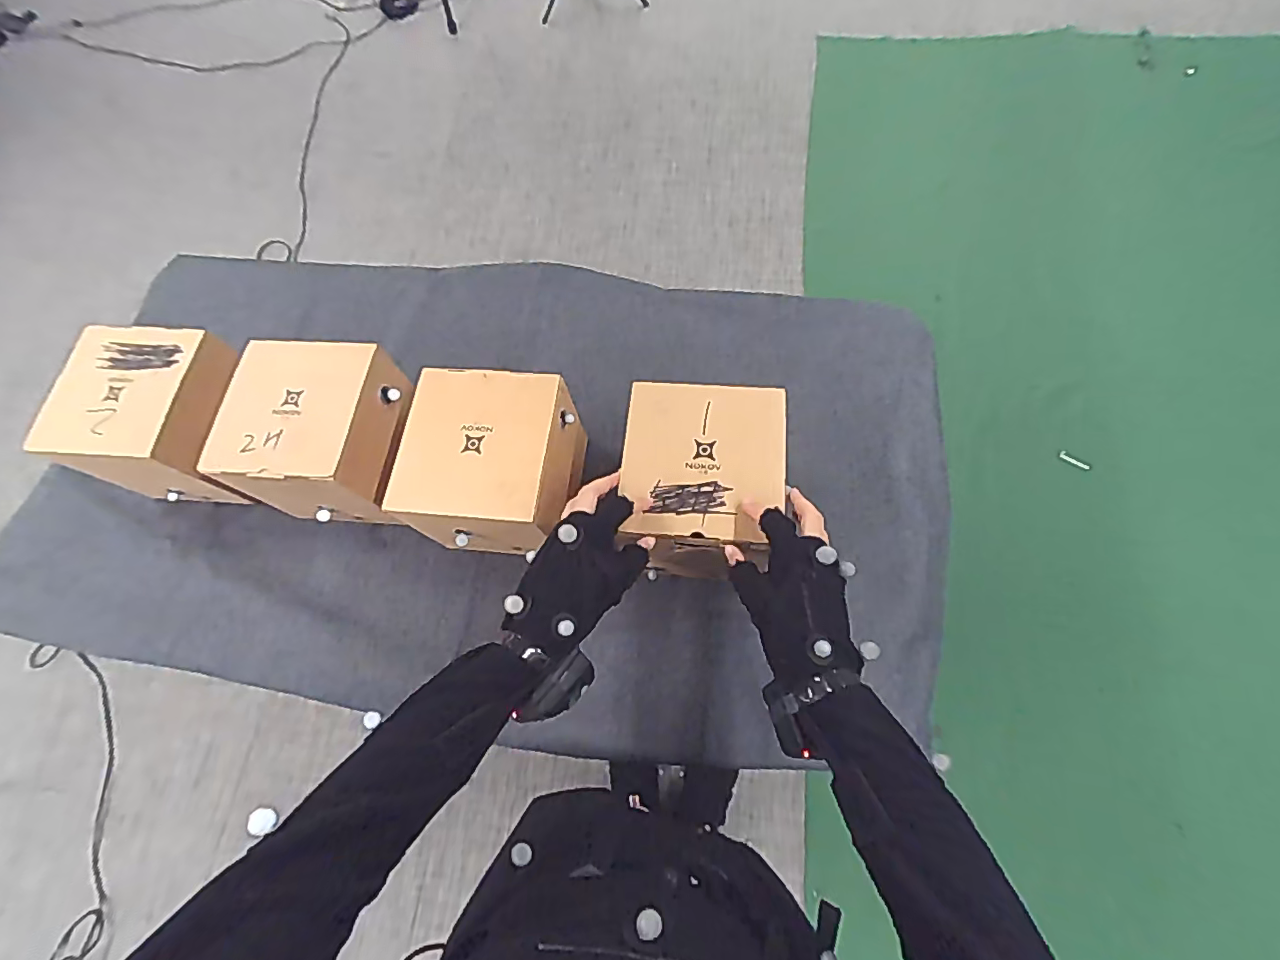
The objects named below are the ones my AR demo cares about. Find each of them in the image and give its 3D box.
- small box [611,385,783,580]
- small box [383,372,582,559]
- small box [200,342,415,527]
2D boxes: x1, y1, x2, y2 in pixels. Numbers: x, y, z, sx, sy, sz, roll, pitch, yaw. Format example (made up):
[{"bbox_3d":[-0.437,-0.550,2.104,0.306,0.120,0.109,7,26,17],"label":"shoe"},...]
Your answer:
[{"bbox_3d":[0.068,0.011,0.624,0.168,0.176,0.179,4,68,6],"label":"small box"},{"bbox_3d":[-0.172,-0.009,0.656,0.168,0.176,0.179,4,68,6],"label":"small box"},{"bbox_3d":[-0.390,-0.052,0.689,0.168,0.176,0.179,3,69,6],"label":"small box"}]
